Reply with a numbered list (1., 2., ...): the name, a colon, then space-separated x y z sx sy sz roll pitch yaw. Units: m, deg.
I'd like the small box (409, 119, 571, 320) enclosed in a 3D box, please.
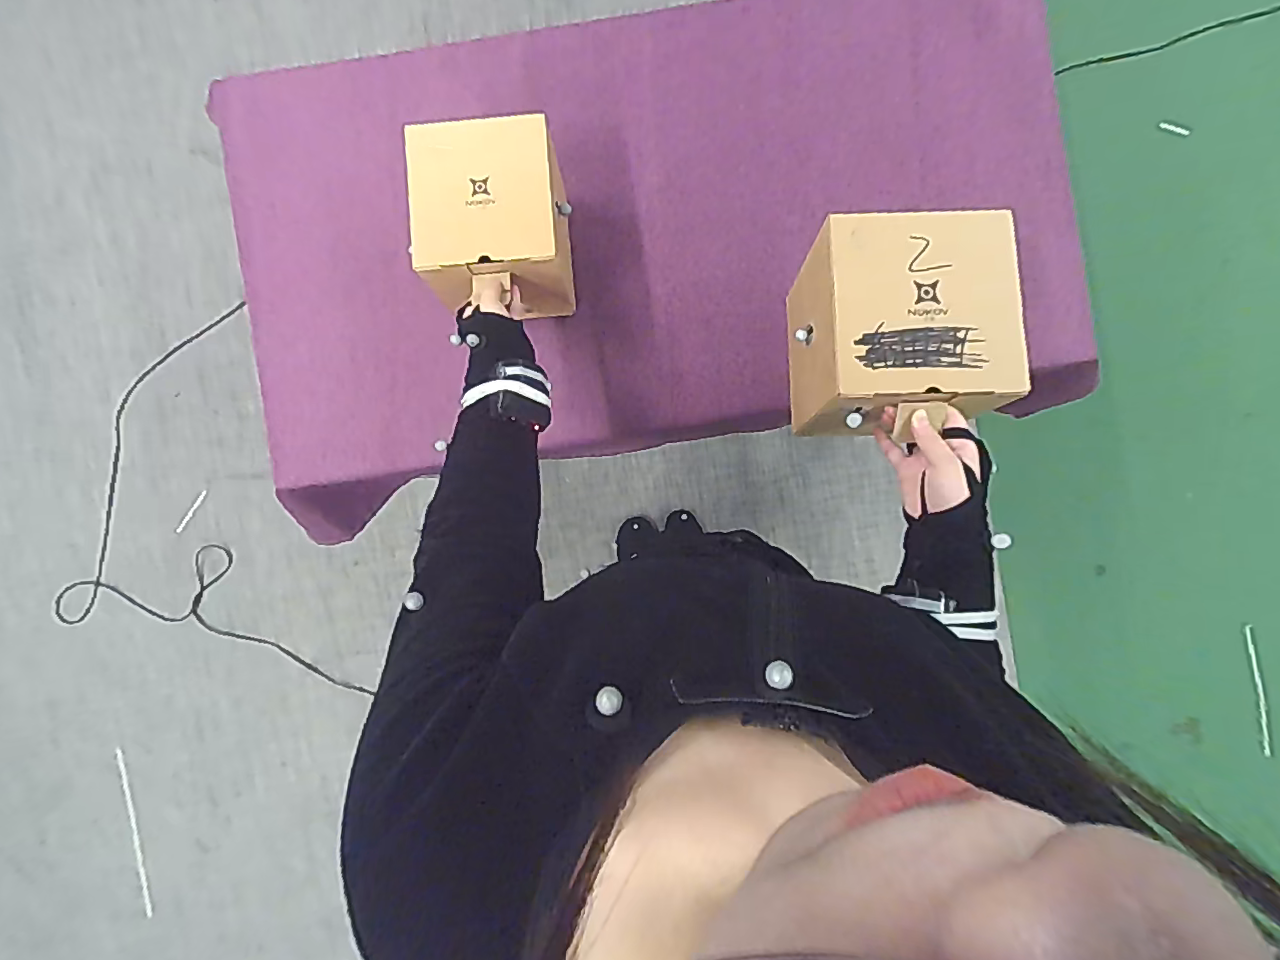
1. small box: -0.187 -0.331 0.713 0.168 0.176 0.179 -5 86 0
